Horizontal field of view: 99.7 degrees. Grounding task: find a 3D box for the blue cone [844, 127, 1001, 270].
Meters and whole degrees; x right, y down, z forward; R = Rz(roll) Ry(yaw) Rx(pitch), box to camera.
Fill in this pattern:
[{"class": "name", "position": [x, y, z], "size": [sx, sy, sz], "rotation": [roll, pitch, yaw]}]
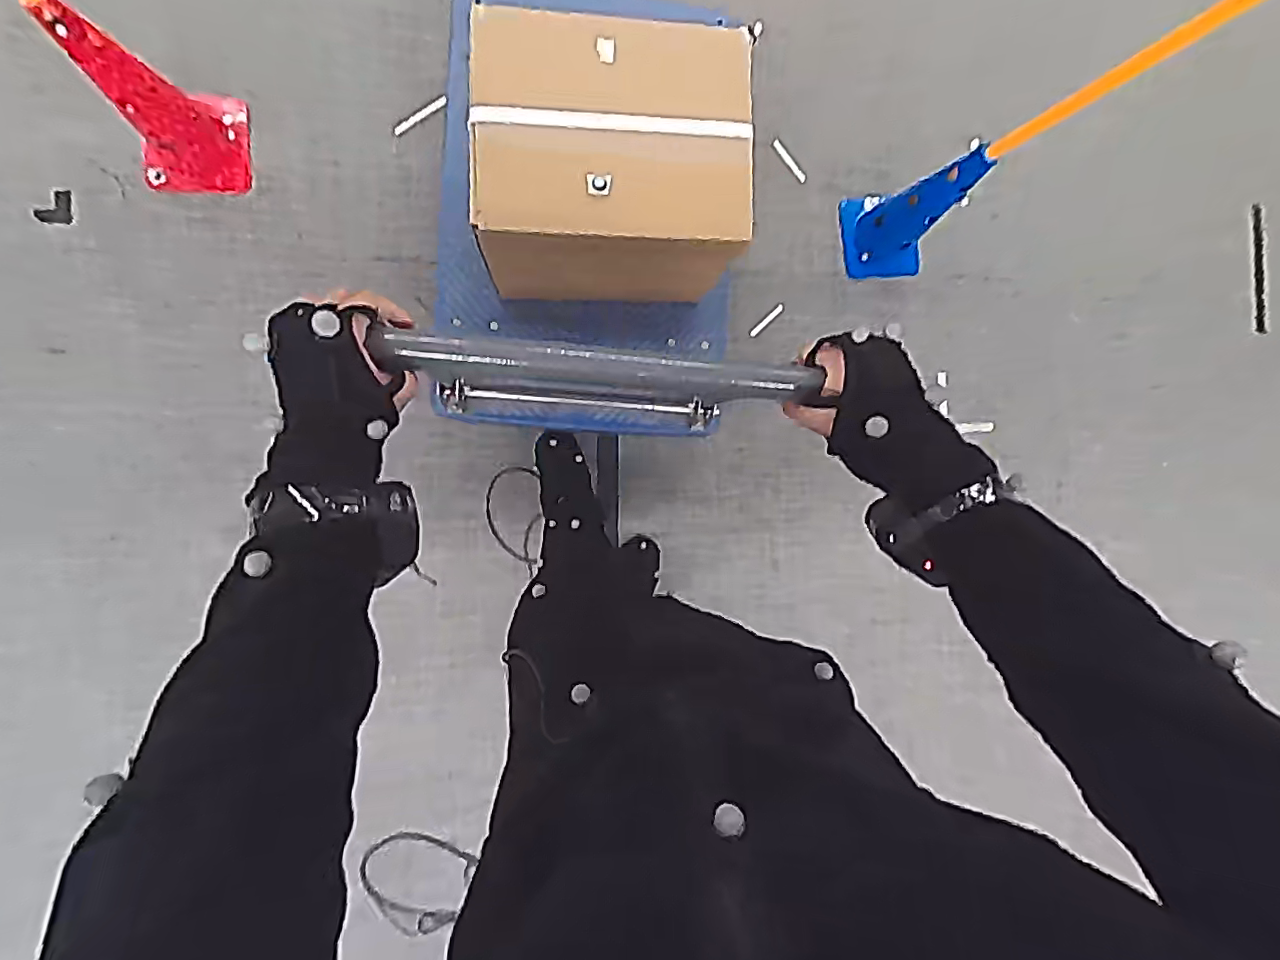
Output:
[{"class": "blue cone", "position": [0.626, -0.620, 1.180], "size": [0.193, 0.380, 0.192], "rotation": [-5, 90, -8]}]
